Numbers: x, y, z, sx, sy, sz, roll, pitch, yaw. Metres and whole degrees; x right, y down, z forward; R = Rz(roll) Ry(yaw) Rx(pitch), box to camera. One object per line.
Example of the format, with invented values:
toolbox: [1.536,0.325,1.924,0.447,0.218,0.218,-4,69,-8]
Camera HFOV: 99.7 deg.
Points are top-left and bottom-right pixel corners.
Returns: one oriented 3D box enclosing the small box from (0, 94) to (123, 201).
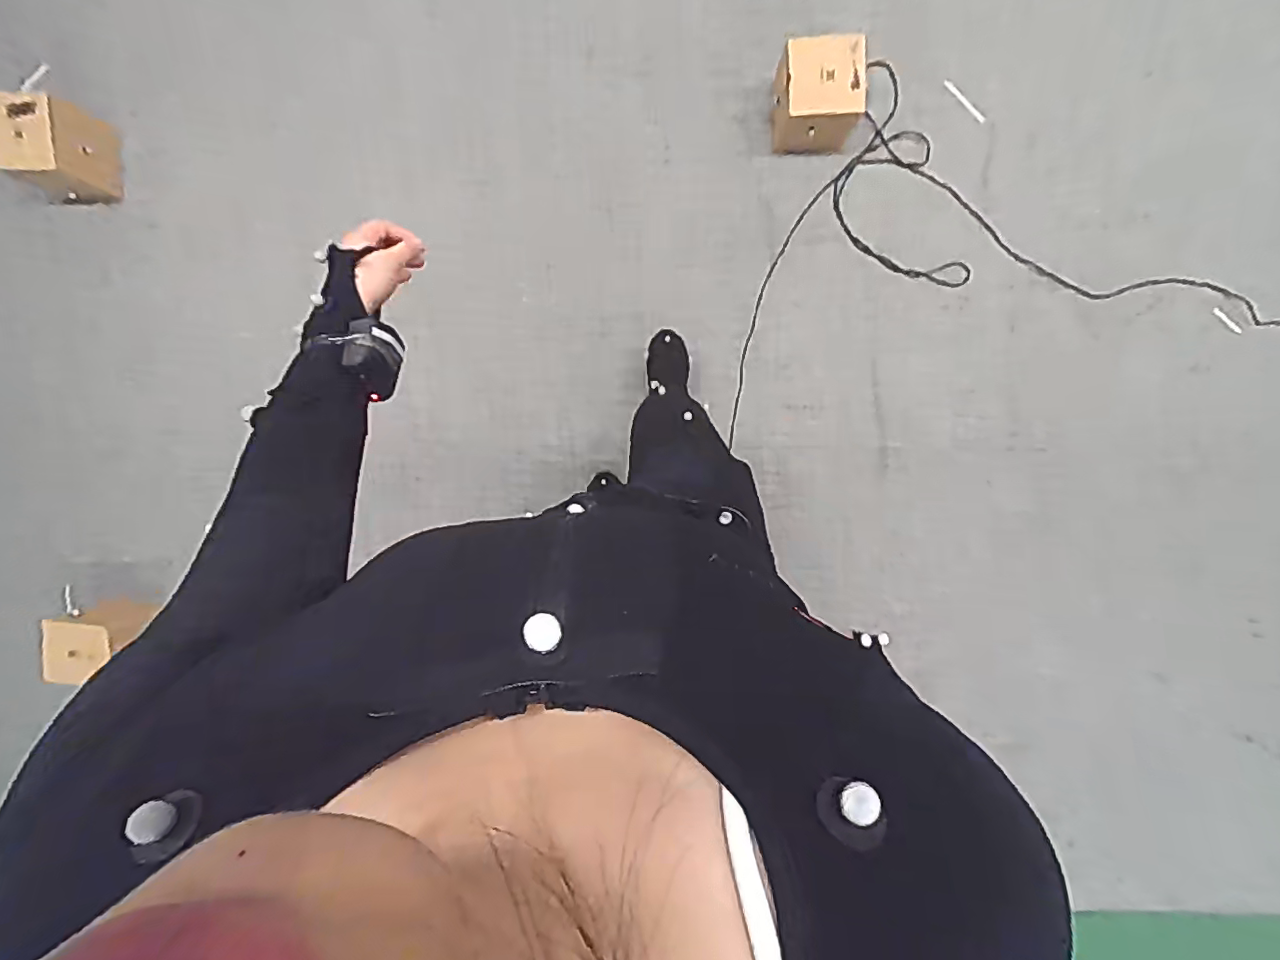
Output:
small box: [-1.458,-0.828,1.356,0.168,0.176,0.179,1,96,1]

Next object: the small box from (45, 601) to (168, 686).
small box: [-1.447,0.437,1.472,0.179,0.176,0.168,6,96,1]

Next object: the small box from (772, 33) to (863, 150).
small box: [0.416,-0.915,1.290,0.179,0.176,0.168,-2,96,3]
